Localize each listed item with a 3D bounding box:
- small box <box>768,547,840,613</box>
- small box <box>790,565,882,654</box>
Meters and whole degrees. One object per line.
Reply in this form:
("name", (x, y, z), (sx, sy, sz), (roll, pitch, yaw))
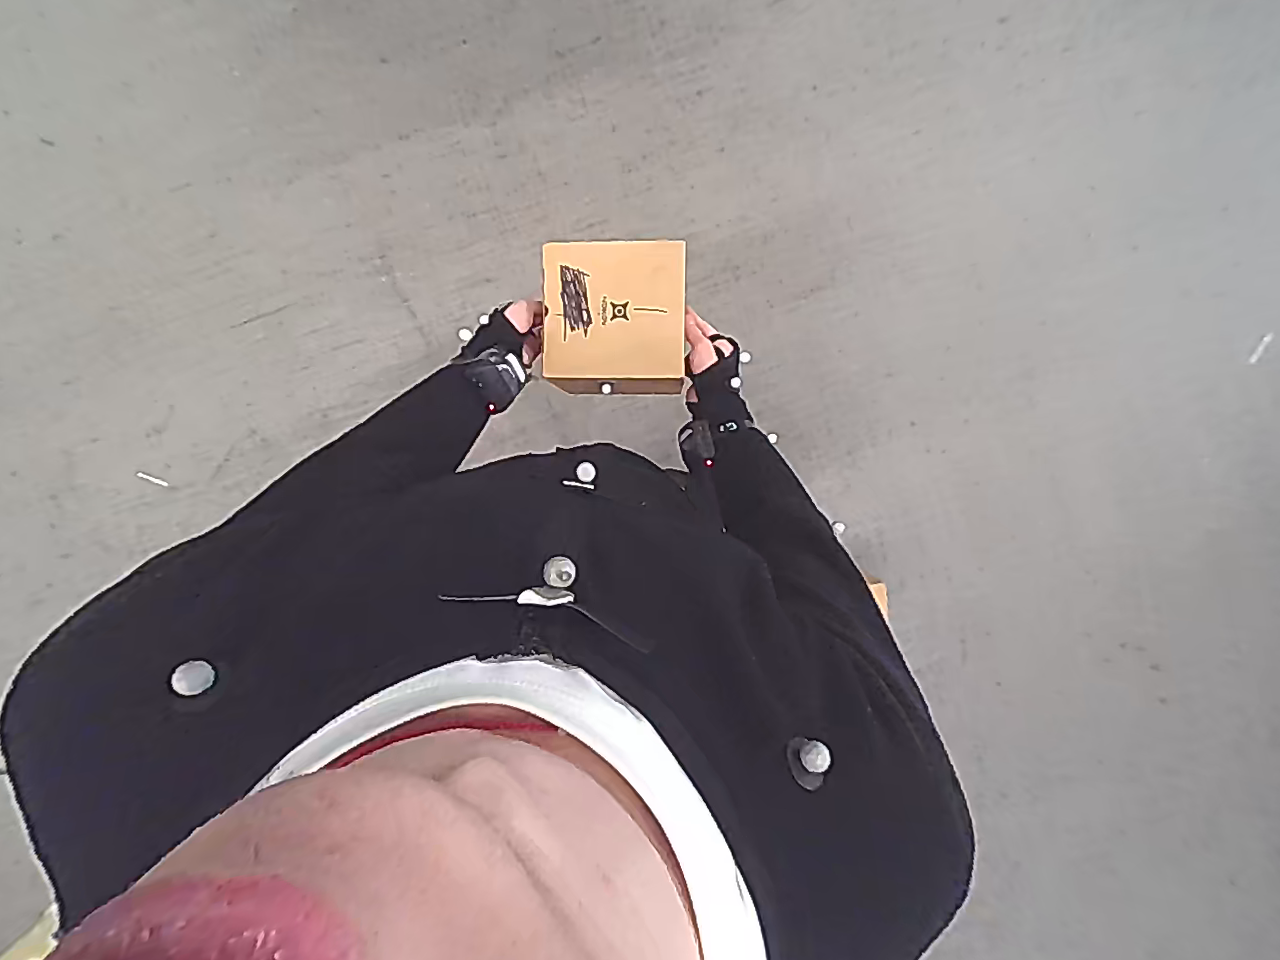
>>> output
("small box", (0.486, 0.309, 1.503), (0.179, 0.176, 0.168), (-40, 95, 2))
("small box", (0.480, 0.318, 1.348), (0.179, 0.176, 0.168), (-5, 97, 0))
